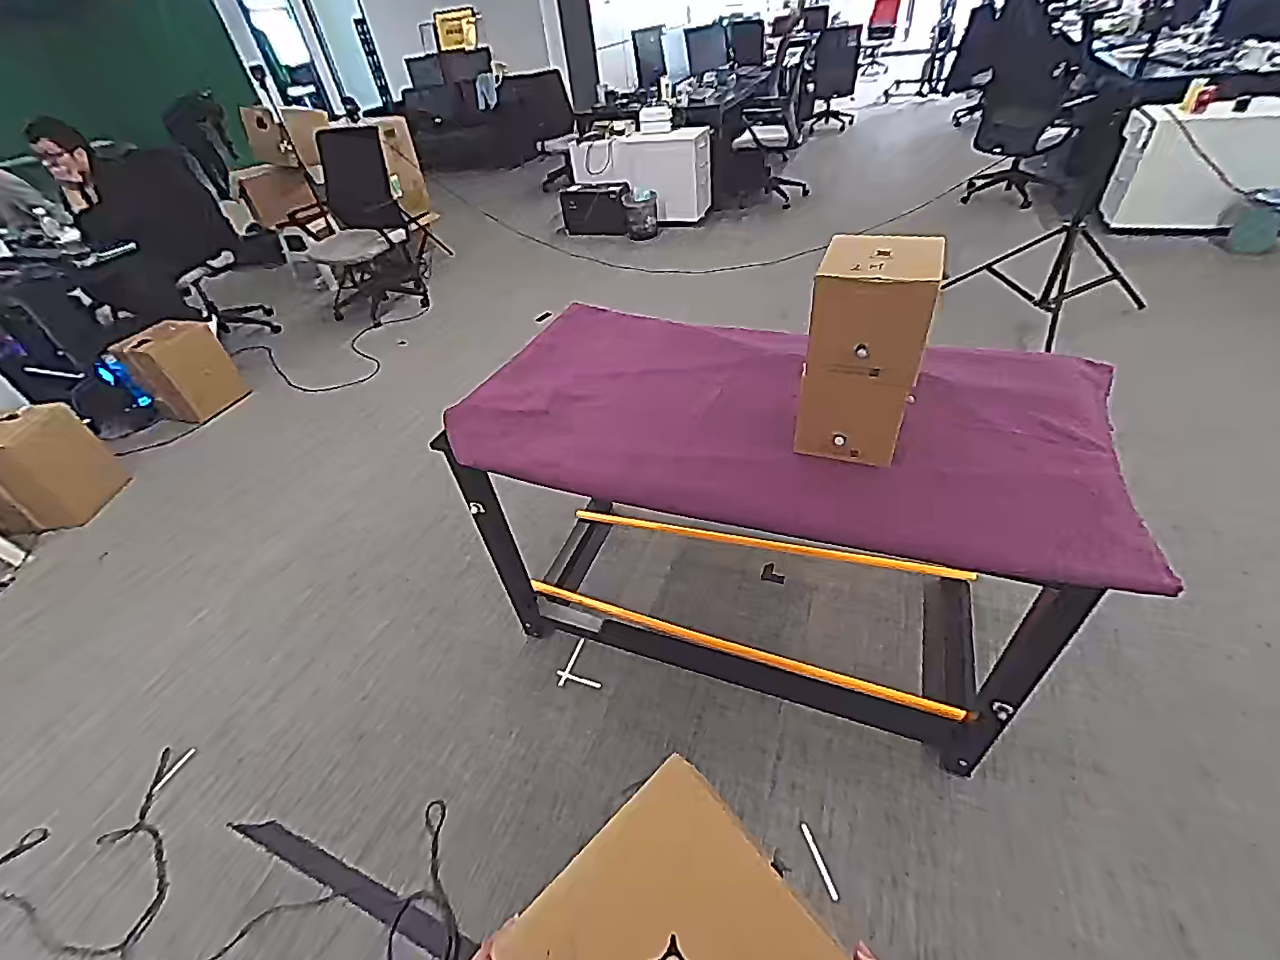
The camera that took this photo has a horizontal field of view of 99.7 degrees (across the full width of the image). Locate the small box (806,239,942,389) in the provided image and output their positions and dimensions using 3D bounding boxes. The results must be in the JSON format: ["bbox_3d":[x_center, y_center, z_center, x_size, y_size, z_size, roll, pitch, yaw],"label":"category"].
[{"bbox_3d":[0.369,-0.268,0.865,0.168,0.176,0.179,11,45,22],"label":"small box"}]

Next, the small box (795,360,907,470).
[{"bbox_3d":[0.381,-0.146,0.976,0.168,0.176,0.179,12,45,22],"label":"small box"}]
